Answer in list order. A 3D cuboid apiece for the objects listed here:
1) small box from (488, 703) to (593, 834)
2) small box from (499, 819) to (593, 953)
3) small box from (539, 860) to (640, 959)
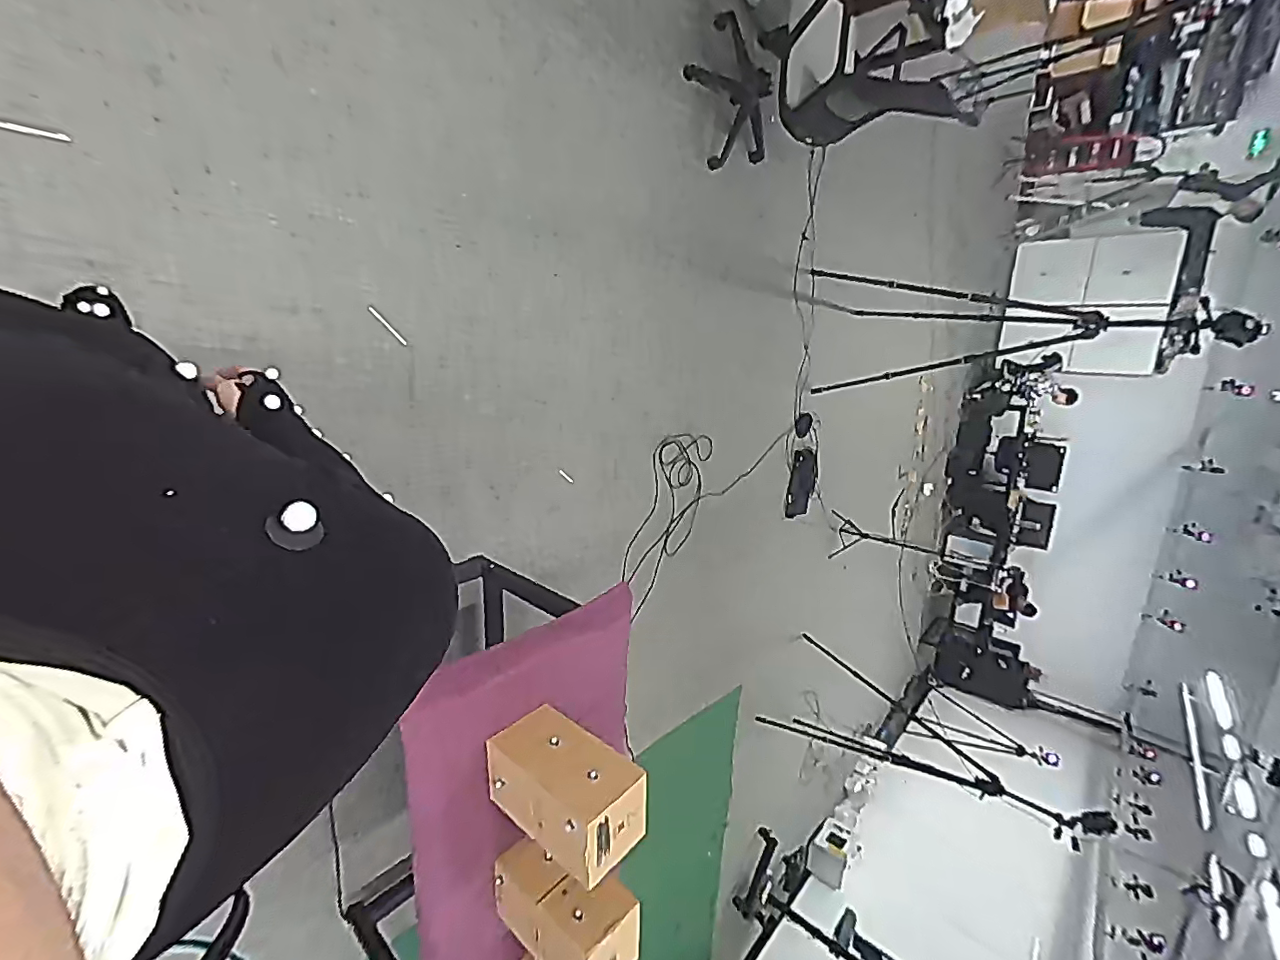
[{"bbox_3d":[-0.229,0.655,1.254,0.179,0.176,0.168,-15,112,-46],"label":"small box"},{"bbox_3d":[-0.237,0.990,1.342,0.179,0.176,0.168,-15,111,-47],"label":"small box"},{"bbox_3d":[-0.118,1.020,1.235,0.168,0.176,0.179,-13,111,-46],"label":"small box"}]
